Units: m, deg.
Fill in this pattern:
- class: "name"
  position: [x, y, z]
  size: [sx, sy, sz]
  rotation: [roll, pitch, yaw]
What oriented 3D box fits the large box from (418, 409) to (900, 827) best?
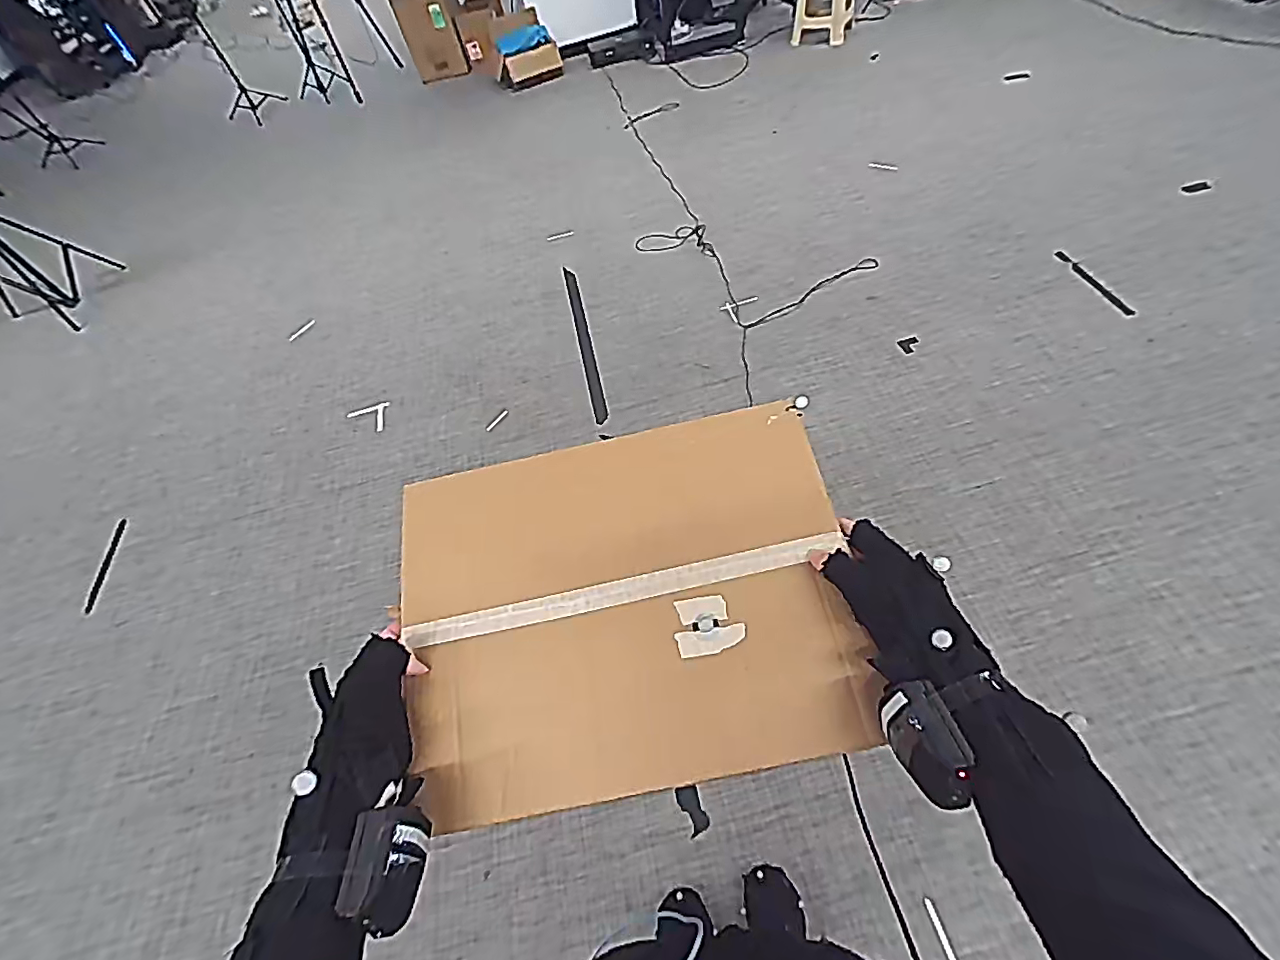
- class: "large box"
  position: [0.004, 0.166, 0.631]
  size: [0.408, 0.320, 0.320]
  rotation: [-12, 65, 1]
